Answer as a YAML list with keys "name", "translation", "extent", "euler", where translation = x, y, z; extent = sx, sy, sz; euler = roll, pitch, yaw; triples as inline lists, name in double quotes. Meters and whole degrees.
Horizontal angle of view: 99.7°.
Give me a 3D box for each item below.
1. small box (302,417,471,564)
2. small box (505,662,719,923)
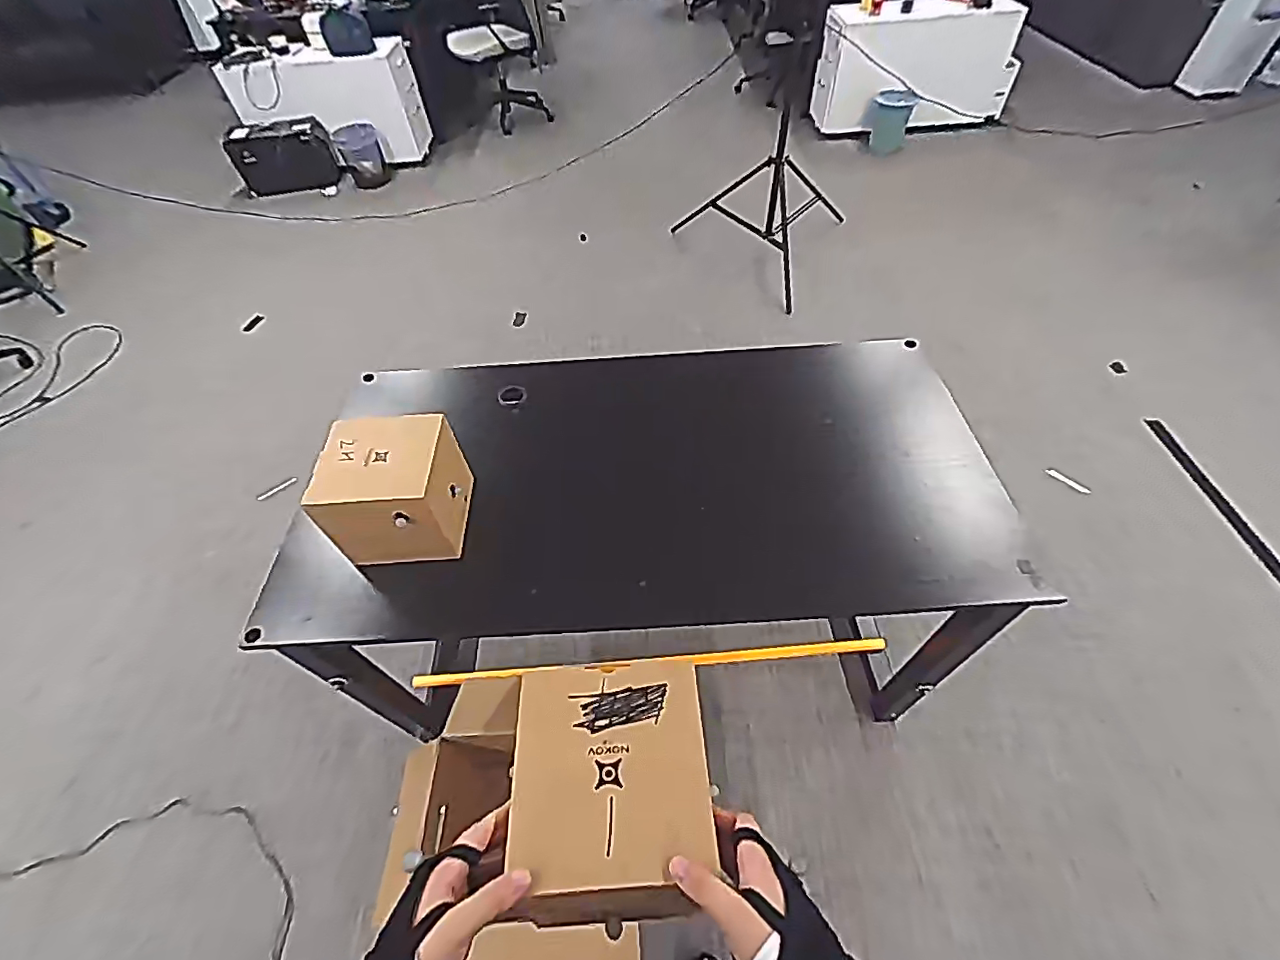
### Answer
- name: "small box"
  translation: [-0.383, 0.020, 0.857]
  extent: [0.179, 0.176, 0.168]
  euler: [-4, 51, 0]
- name: "small box"
  translation: [-0.023, 0.300, 0.522]
  extent: [0.168, 0.176, 0.179]
  euler: [-4, 45, -1]
